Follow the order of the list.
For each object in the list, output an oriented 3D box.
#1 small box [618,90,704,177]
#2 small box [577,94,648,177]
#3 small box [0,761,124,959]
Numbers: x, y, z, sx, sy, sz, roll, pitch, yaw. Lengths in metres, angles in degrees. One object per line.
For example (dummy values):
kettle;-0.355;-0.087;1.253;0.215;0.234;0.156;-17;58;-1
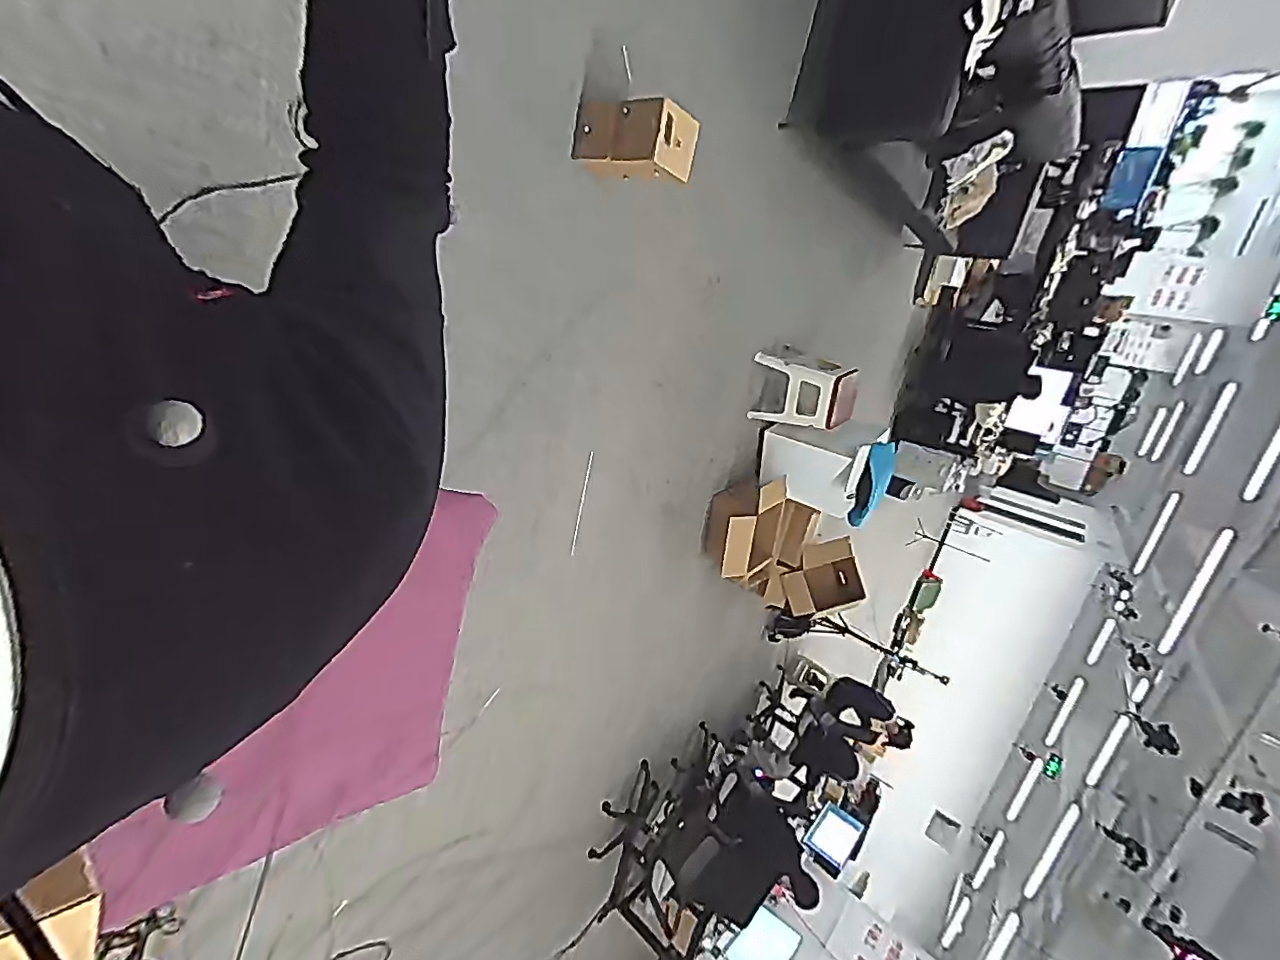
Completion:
small box;0.058;-1.016;1.601;0.179;0.176;0.168;-7;115;-51
small box;-0.067;-1.072;1.692;0.179;0.176;0.168;-5;113;-50
small box;-0.539;0.359;0.416;0.179;0.176;0.168;0;110;-52
